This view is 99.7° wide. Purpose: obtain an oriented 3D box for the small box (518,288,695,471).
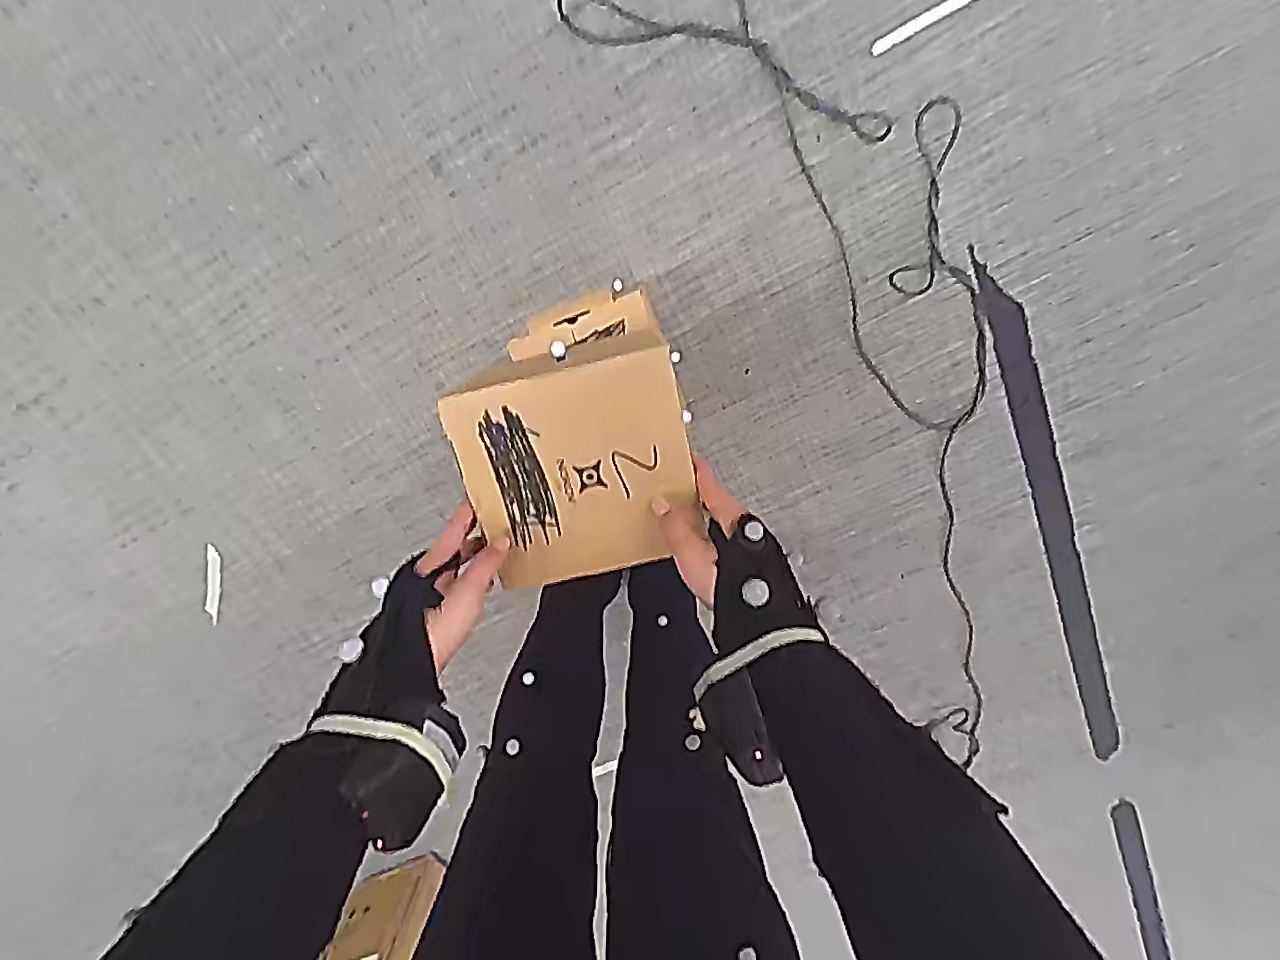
[{"bbox_3d":[-0.037,-0.139,0.707,0.168,0.176,0.179,-18,111,8],"label":"small box"}]
